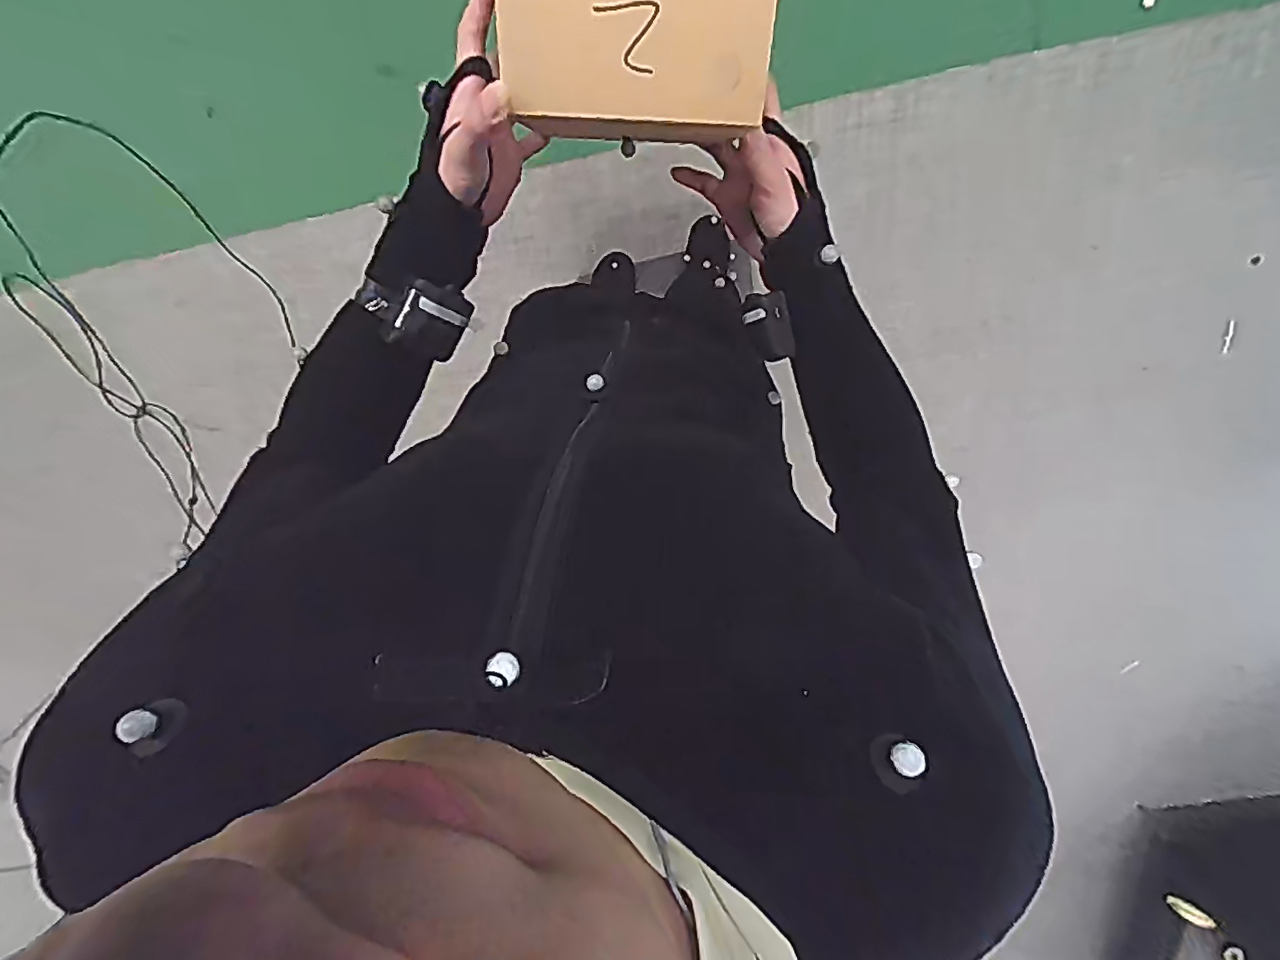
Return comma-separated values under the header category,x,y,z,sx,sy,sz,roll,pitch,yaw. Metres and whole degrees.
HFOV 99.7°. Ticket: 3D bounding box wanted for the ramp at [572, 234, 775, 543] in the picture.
category,x,y,z,sx,sy,sz,roll,pitch,yaw
ramp,0.157,-0.204,1.714,0.509,0.206,0.991,-13,115,5
